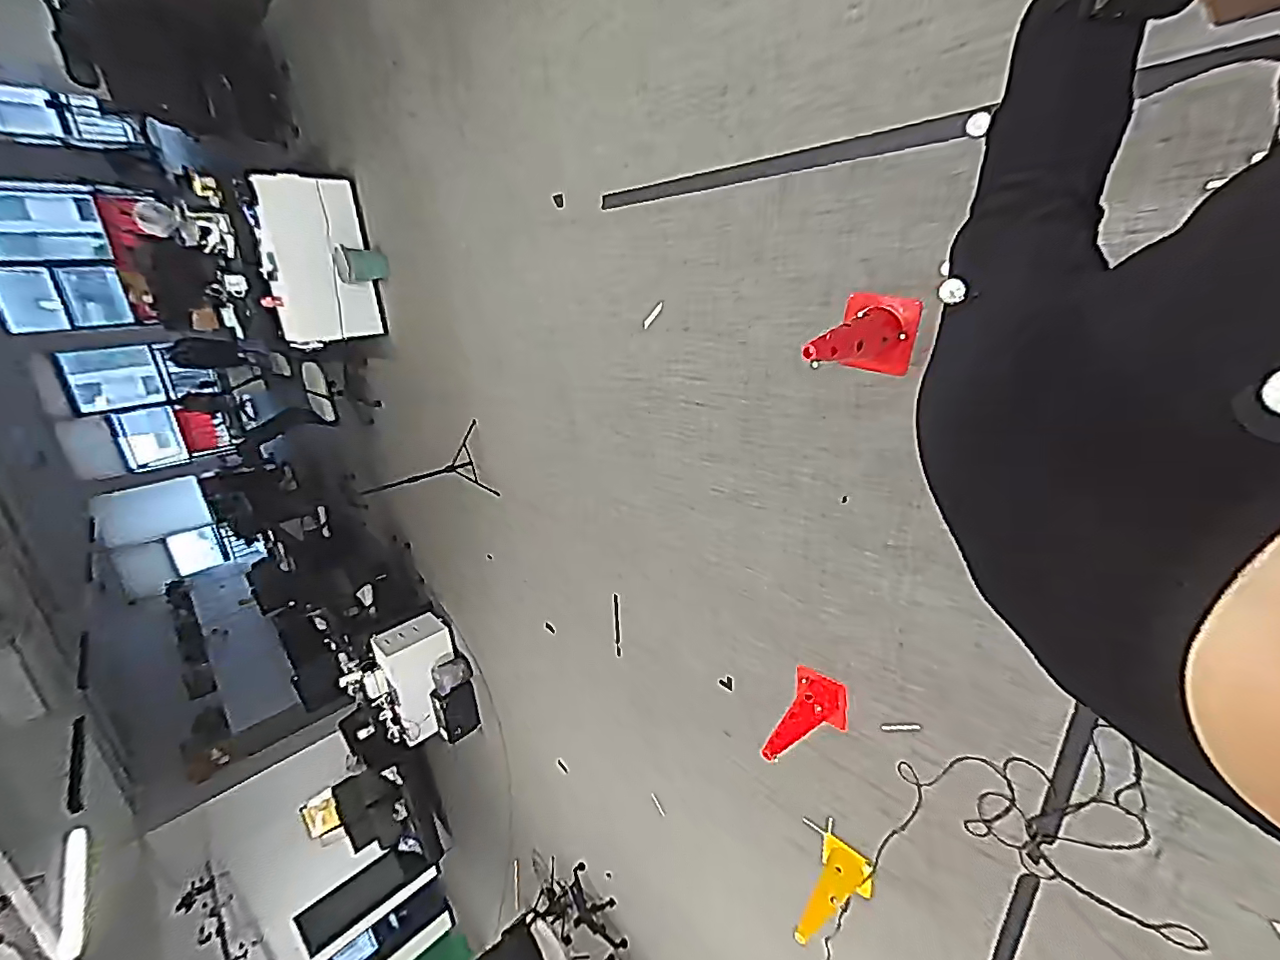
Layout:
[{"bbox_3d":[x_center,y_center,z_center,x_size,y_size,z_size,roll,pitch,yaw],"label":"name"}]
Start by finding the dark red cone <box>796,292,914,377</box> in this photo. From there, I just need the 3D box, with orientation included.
[{"bbox_3d":[0.499,-0.342,1.332,0.201,0.394,0.202,24,124,39],"label":"dark red cone"}]

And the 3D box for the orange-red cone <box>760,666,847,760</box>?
[{"bbox_3d":[0.536,0.844,1.864,0.198,0.360,0.199,16,119,45],"label":"orange-red cone"}]
